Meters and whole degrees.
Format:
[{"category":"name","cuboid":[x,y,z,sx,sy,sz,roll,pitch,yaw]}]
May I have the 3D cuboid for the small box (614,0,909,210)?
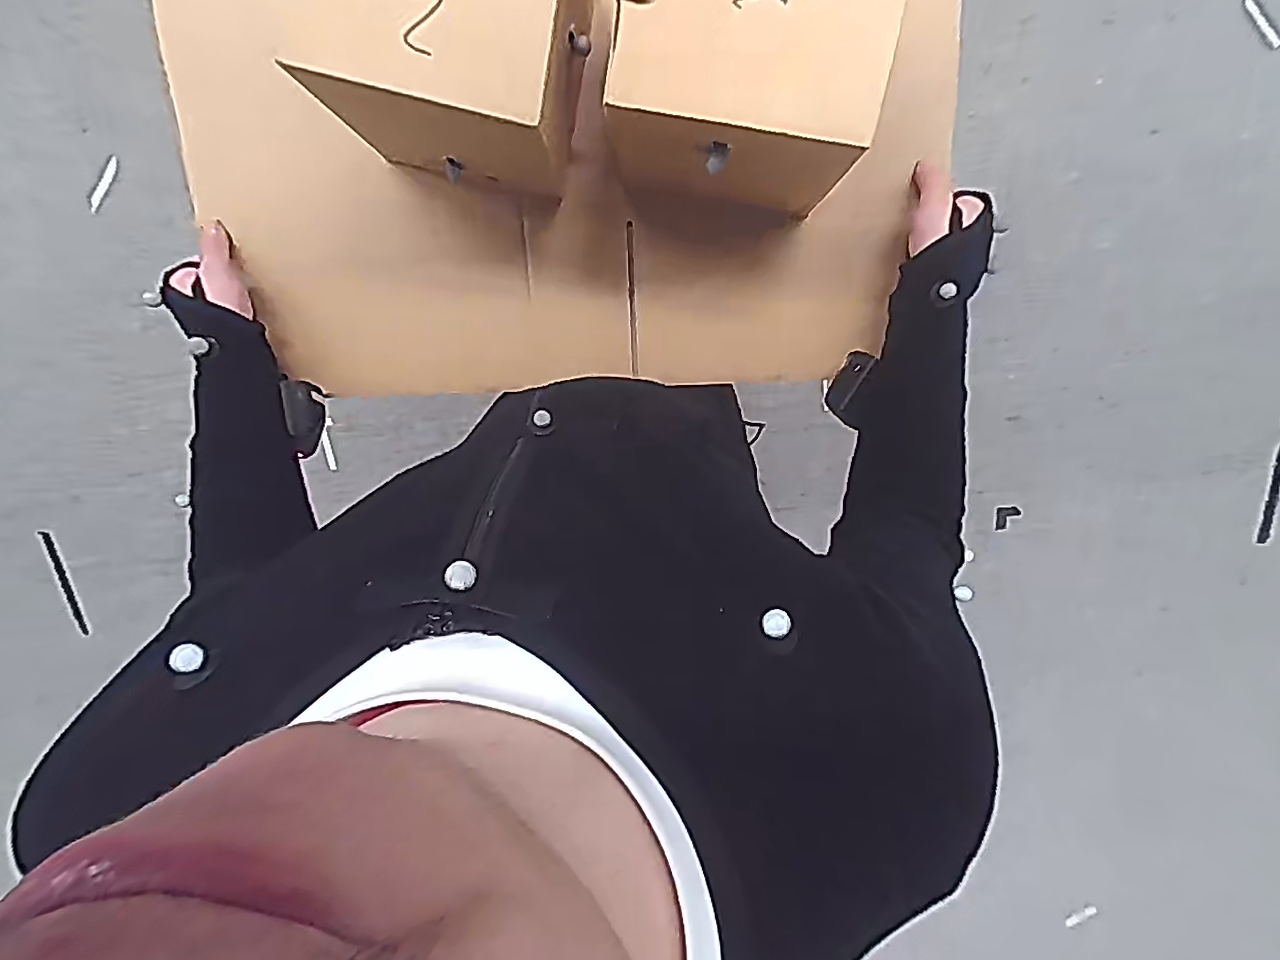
[{"category":"small box","cuboid":[0.087,-0.325,0.418,0.179,0.176,0.168,11,103,2]}]
